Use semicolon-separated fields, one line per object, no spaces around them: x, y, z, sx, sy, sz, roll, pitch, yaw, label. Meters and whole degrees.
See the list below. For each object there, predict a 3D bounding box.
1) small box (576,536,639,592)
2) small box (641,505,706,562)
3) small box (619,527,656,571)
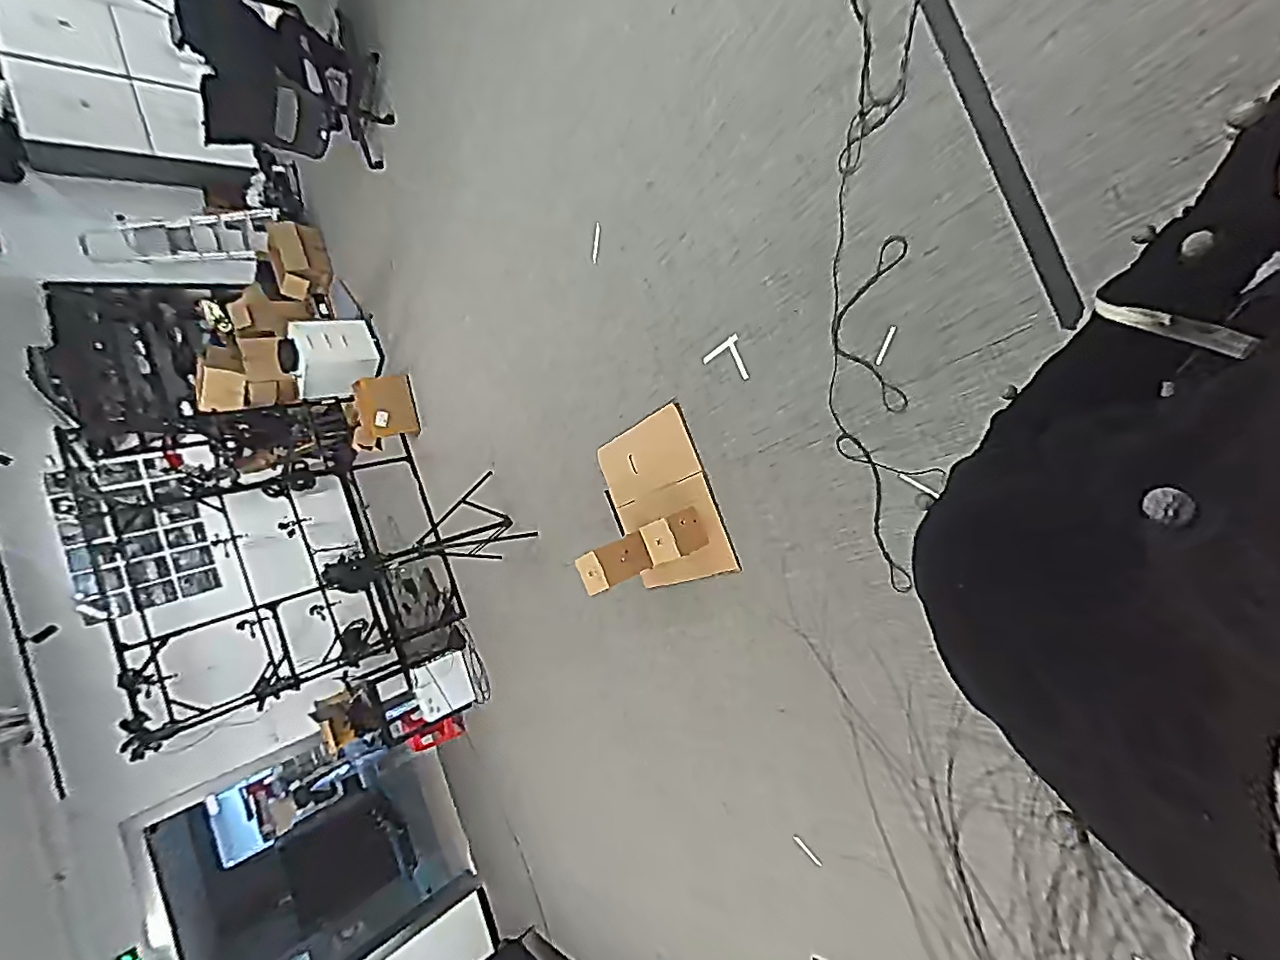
-0.136;0.351;2.269;0.179;0.176;0.168;-34;78;50;small box
0.140;0.211;2.157;0.179;0.176;0.168;-30;79;51;small box
-0.015;0.308;2.372;0.179;0.176;0.168;-37;75;48;small box
